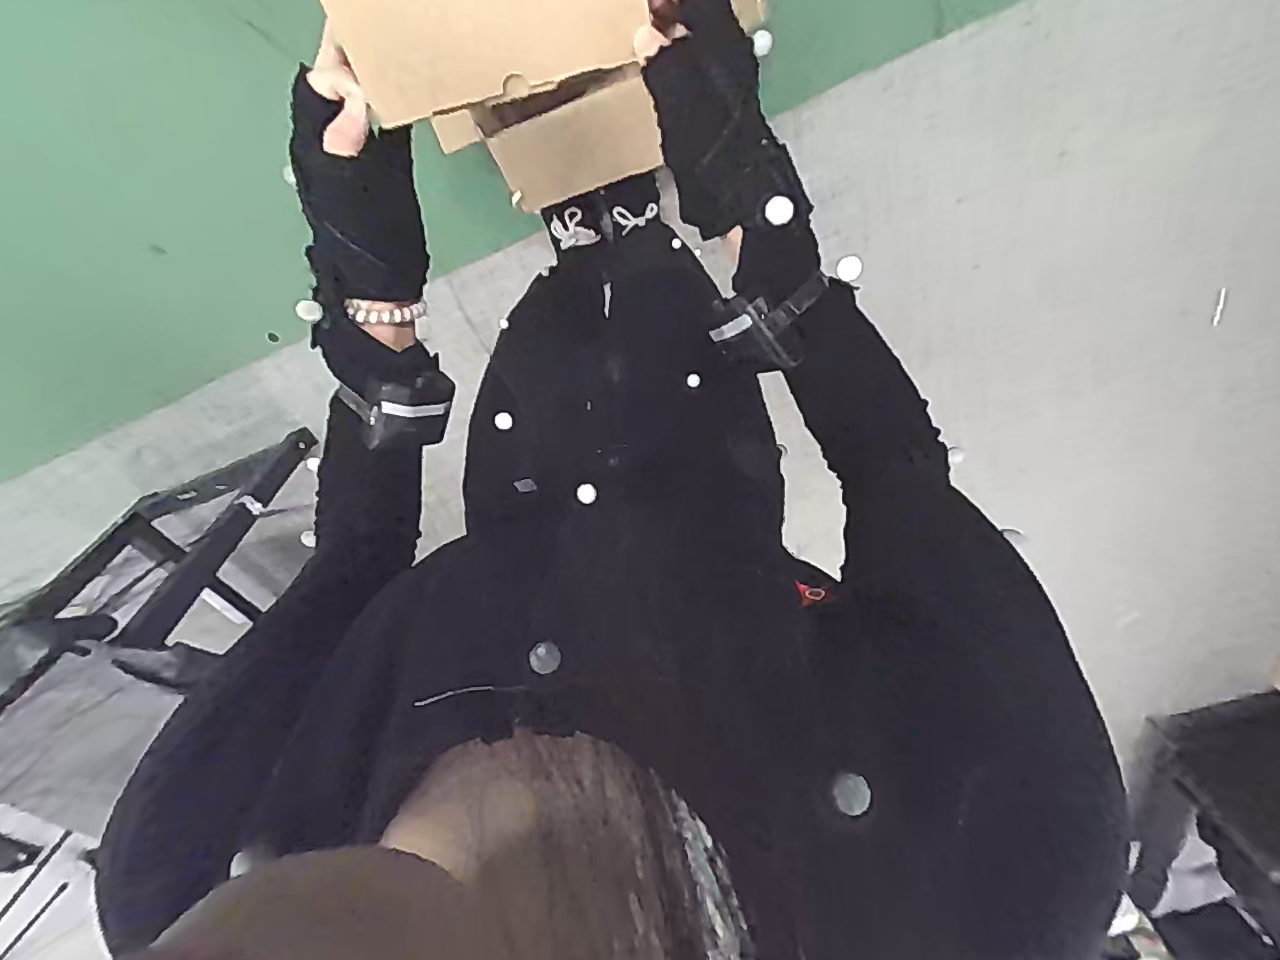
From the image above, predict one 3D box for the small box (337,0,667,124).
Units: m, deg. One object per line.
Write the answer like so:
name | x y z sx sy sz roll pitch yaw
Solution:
small box | -0.091 -0.336 0.293 0.168 0.176 0.179 -14 142 1
